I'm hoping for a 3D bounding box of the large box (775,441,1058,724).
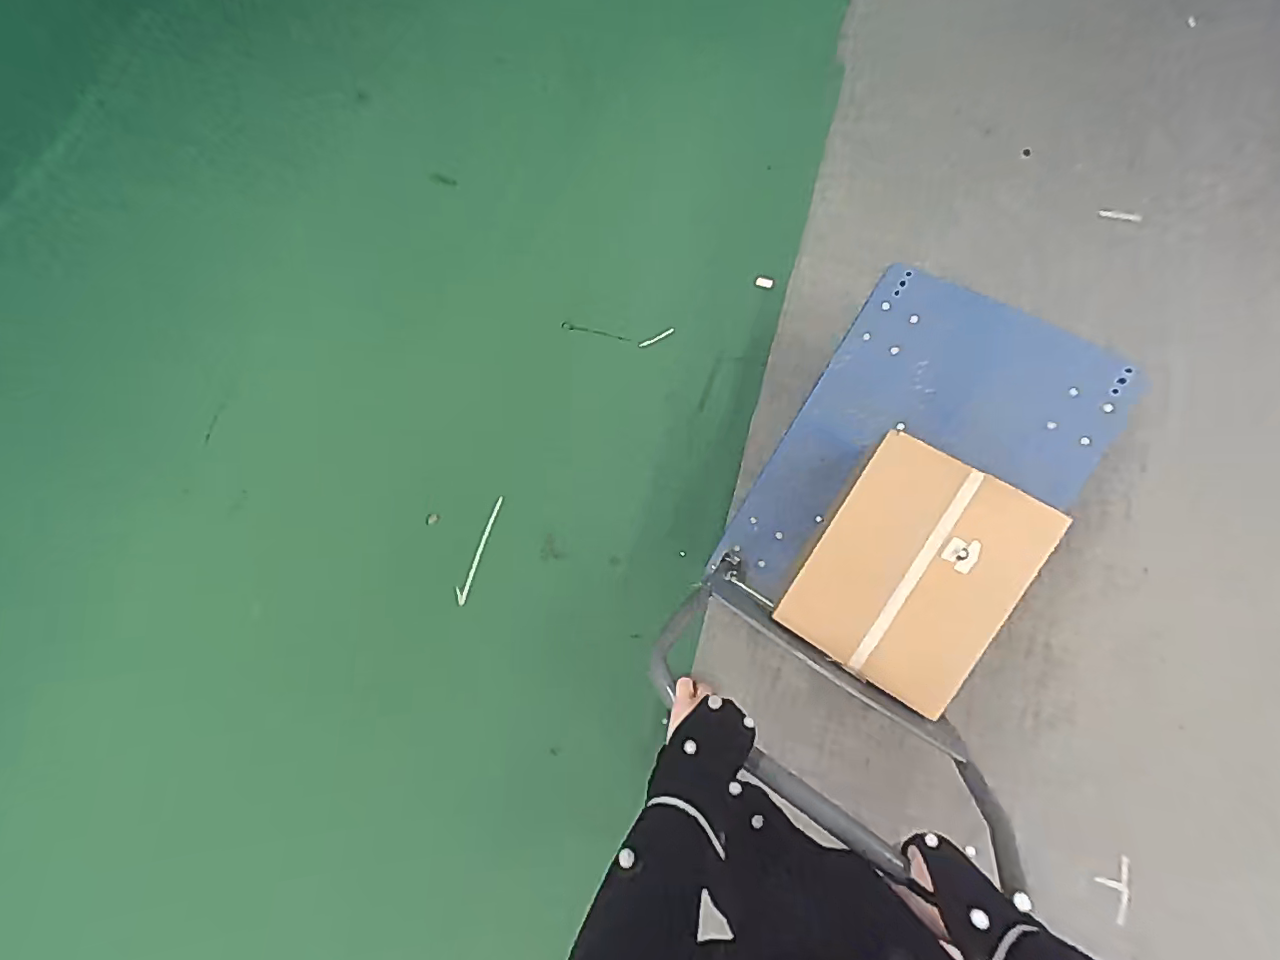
[{"bbox_3d":[0.510,0.187,1.089,0.320,0.320,0.408,32,94,15],"label":"large box"}]
